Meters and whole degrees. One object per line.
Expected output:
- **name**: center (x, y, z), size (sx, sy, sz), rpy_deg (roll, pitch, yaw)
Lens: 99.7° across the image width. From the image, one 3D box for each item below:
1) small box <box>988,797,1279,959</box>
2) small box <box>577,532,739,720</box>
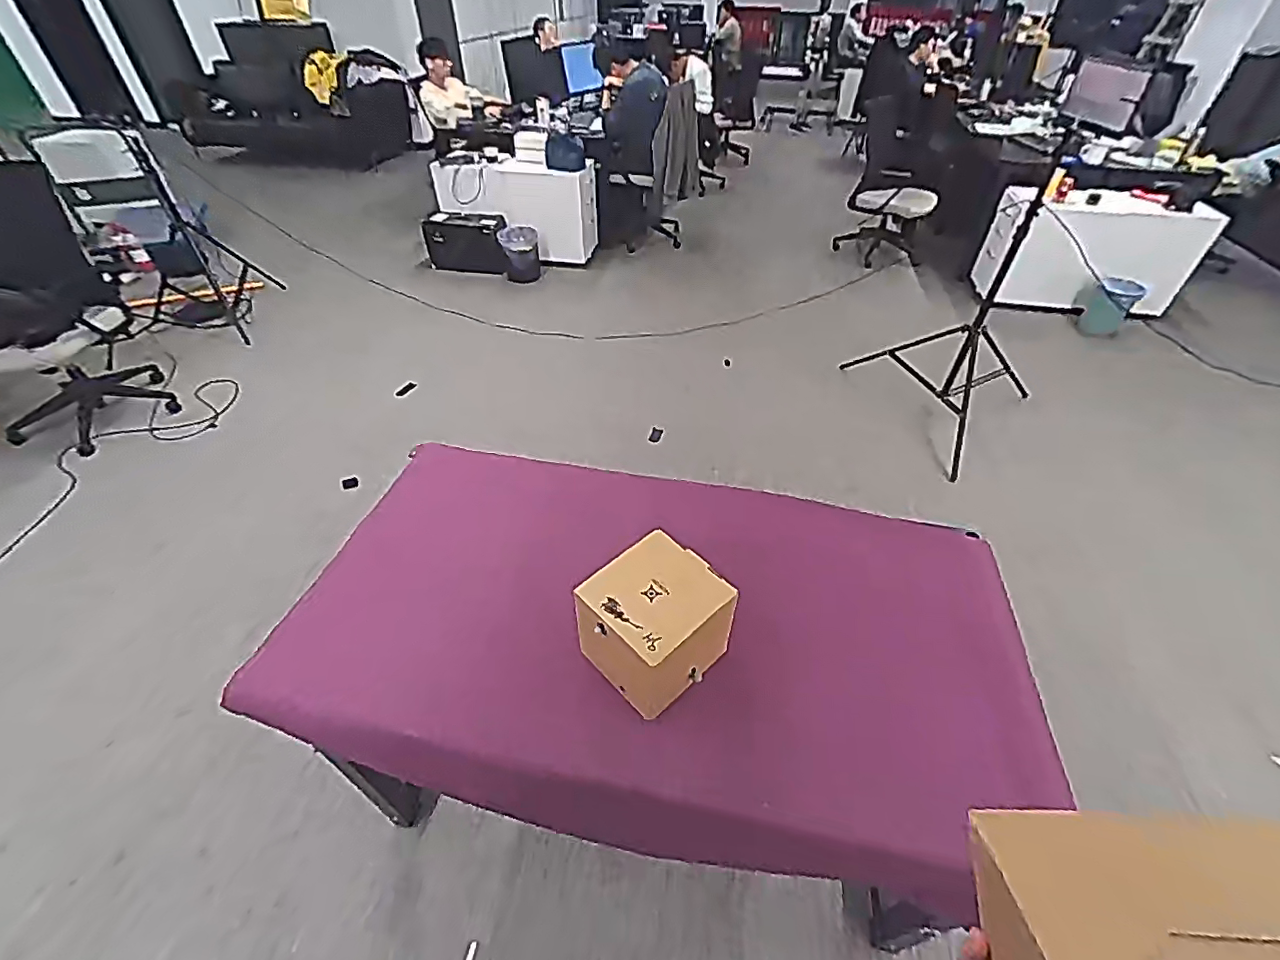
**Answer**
- **small box**: center (0.271, 0.268, 0.230), size (0.168, 0.176, 0.179), rpy_deg (-6, 1, 15)
- **small box**: center (0.023, 0.218, 0.819), size (0.179, 0.176, 0.168), rpy_deg (-32, 51, -31)
